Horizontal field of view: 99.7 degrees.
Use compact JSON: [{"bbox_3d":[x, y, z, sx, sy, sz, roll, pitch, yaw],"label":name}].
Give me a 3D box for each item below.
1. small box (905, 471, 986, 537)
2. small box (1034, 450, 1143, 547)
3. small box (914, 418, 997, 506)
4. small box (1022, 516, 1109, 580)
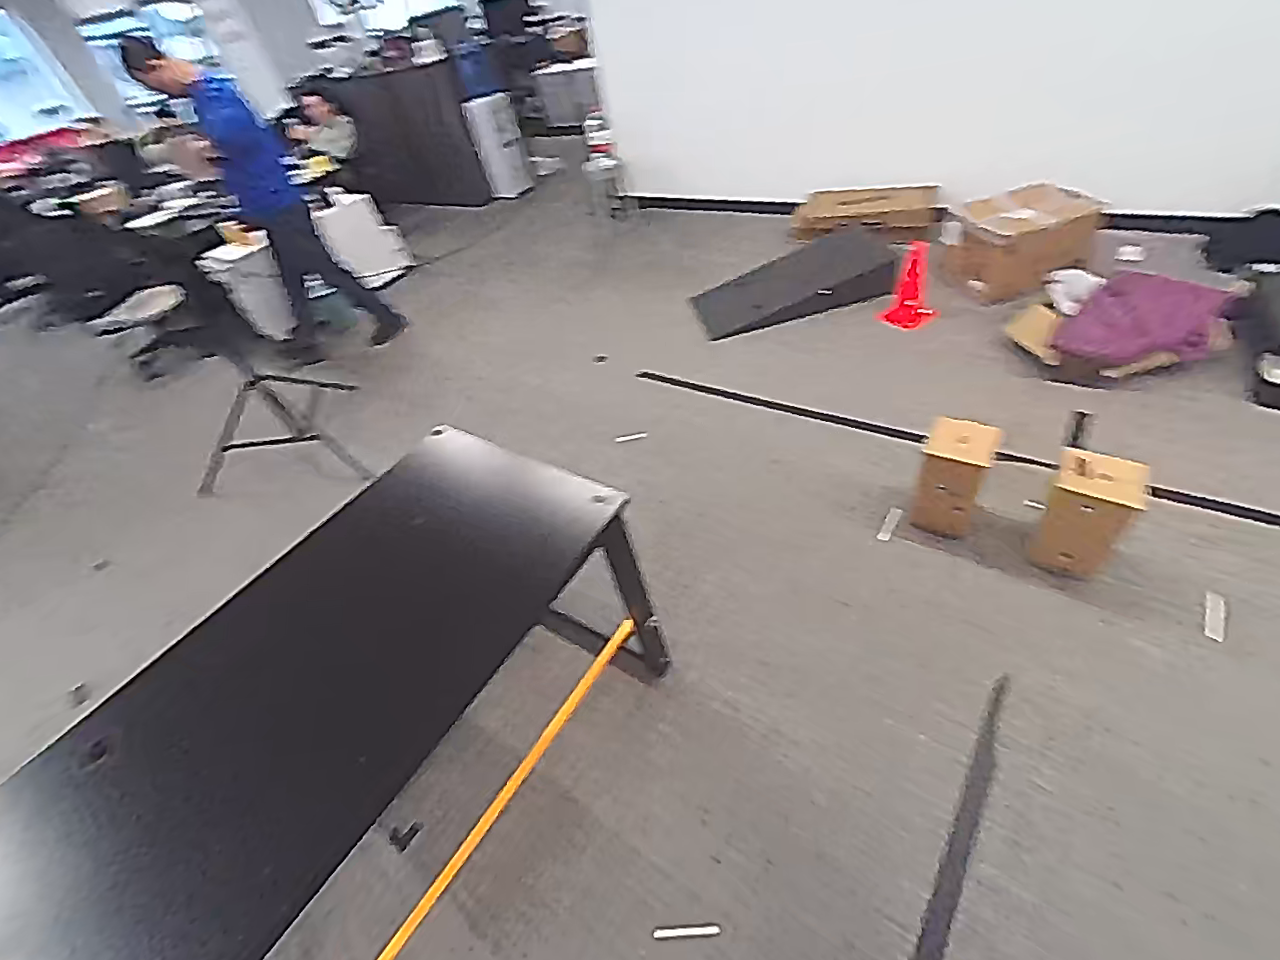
[{"bbox_3d":[0.970,0.056,1.725,0.179,0.176,0.168,18,53,30],"label":"small box"},{"bbox_3d":[1.186,0.050,1.440,0.179,0.176,0.168,20,54,29],"label":"small box"},{"bbox_3d":[0.934,-0.054,1.611,0.168,0.176,0.179,18,54,31],"label":"small box"},{"bbox_3d":[1.234,0.157,1.559,0.168,0.176,0.179,22,56,31],"label":"small box"}]
